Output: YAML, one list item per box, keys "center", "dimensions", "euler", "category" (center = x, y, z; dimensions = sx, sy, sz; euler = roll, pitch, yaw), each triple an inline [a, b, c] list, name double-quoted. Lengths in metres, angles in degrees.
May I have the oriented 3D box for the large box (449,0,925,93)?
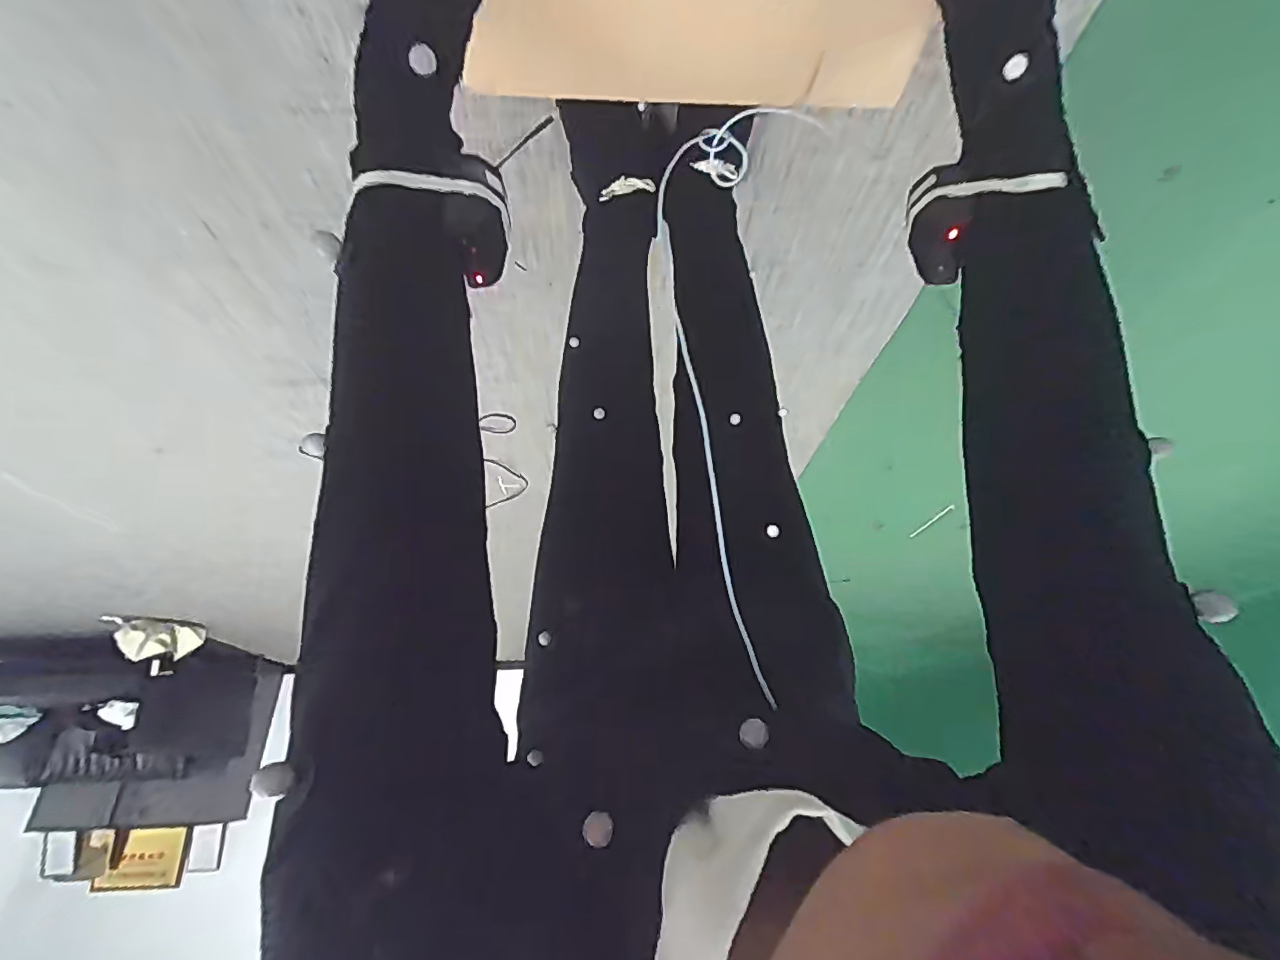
- center: [0.036, -0.566, 0.440]
  dimensions: [0.408, 0.320, 0.320]
  euler: [-1, 153, -3]
  category: "large box"
